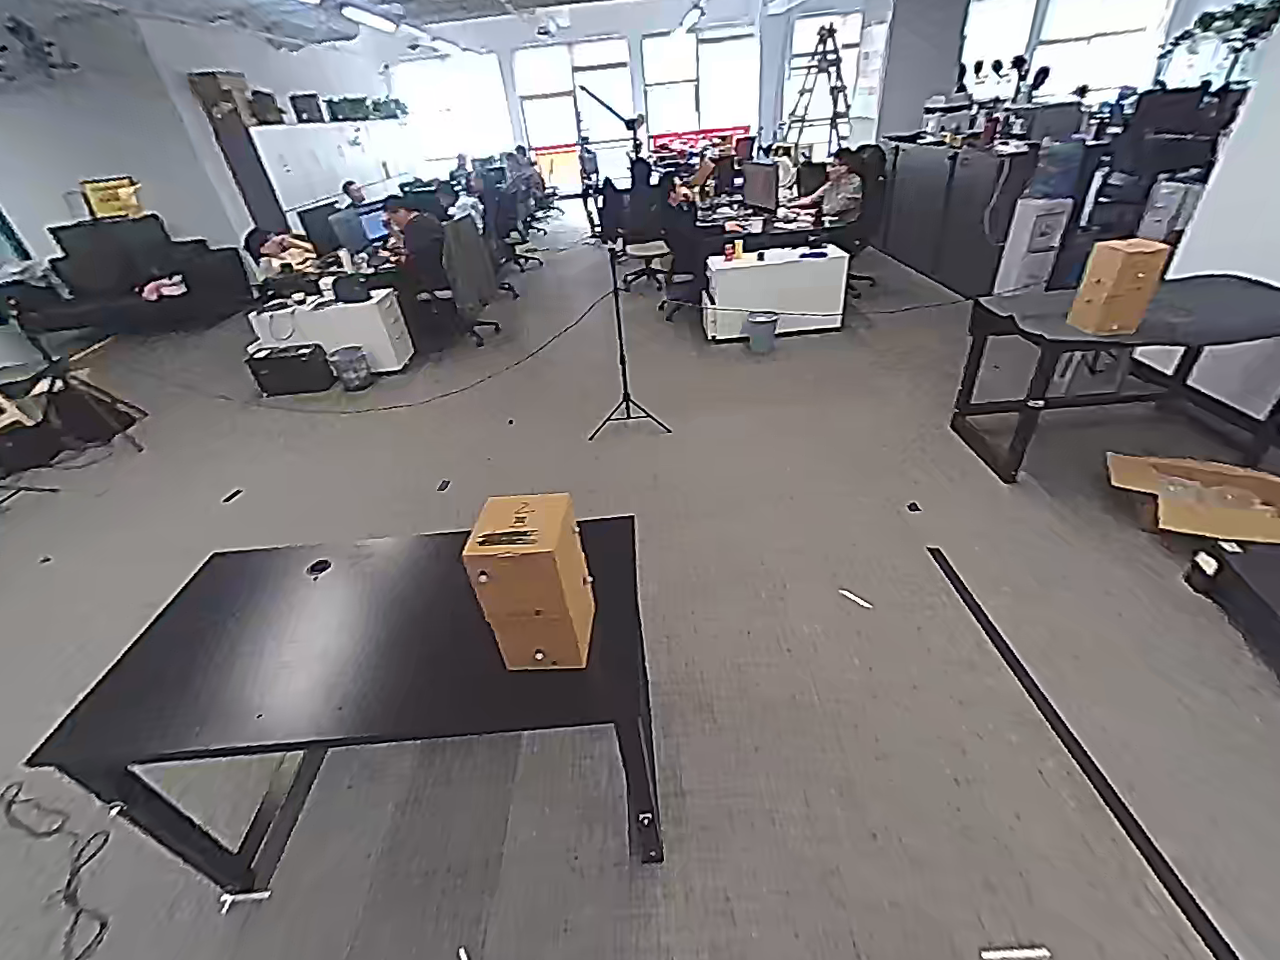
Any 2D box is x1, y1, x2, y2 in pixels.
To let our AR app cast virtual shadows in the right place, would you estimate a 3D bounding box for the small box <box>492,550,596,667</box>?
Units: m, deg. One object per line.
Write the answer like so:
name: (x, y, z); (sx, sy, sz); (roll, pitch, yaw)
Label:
small box: (-0.191, 0.267, 1.136); (0.168, 0.176, 0.179); (-3, 35, 6)
